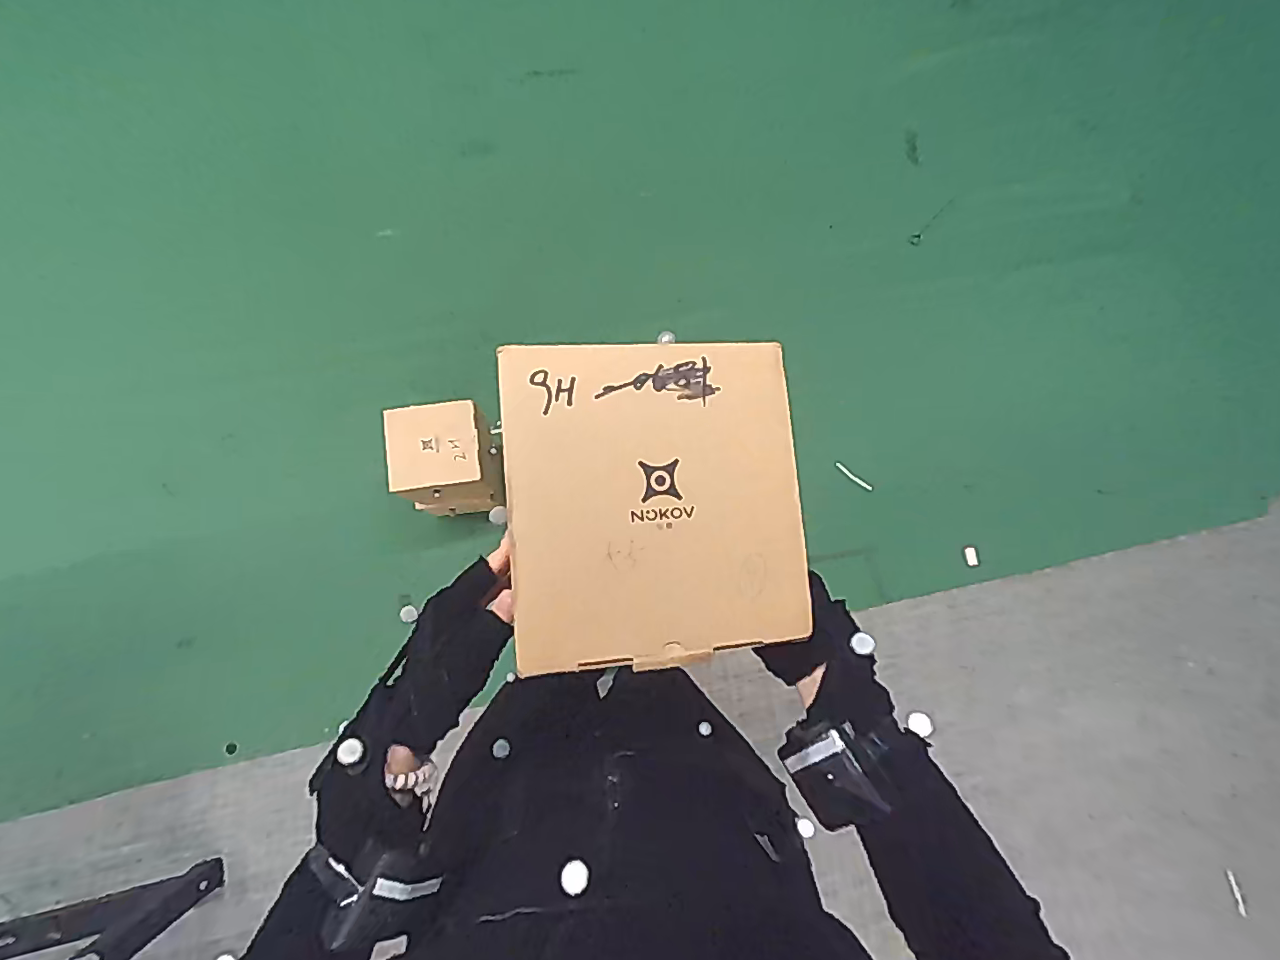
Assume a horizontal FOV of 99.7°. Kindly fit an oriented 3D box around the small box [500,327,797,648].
[{"bbox_3d":[-0.008,0.006,0.382,0.168,0.176,0.179,-3,85,-12],"label":"small box"}]

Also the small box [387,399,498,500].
[{"bbox_3d":[-0.407,-0.057,1.132,0.179,0.176,0.168,-7,81,-7],"label":"small box"}]

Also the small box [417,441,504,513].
[{"bbox_3d":[-0.425,-0.018,1.290,0.168,0.176,0.179,-6,80,-5],"label":"small box"}]
